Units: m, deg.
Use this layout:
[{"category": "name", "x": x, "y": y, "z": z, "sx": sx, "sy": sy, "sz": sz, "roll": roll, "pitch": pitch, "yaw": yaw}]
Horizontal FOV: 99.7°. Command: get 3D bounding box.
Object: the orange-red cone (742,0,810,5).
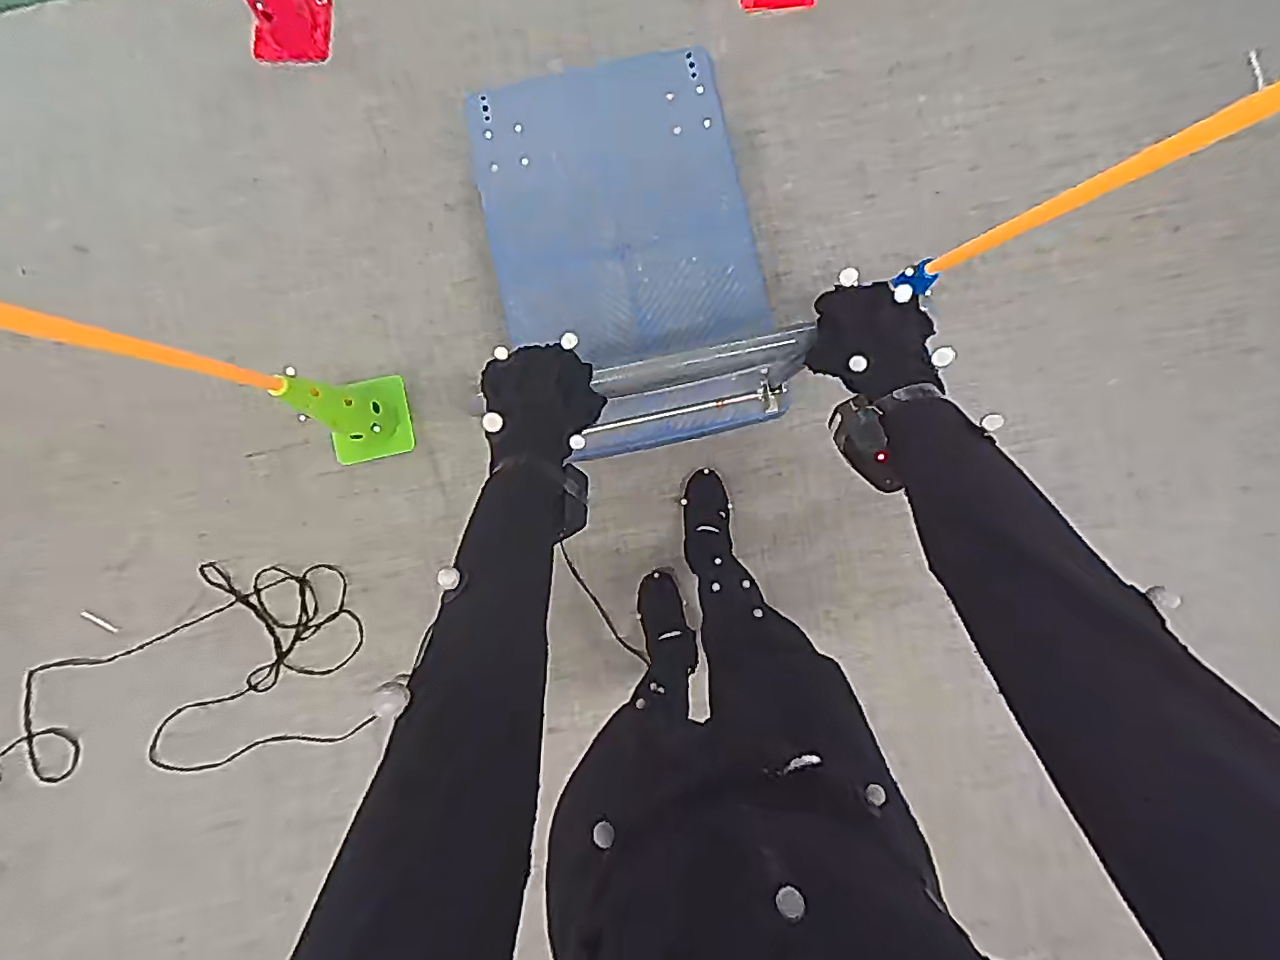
[{"category": "orange-red cone", "x": 0.357, "y": -1.355, "z": 1.254, "sx": 0.198, "sy": 0.360, "sz": 0.199, "roll": -1, "pitch": 87, "yaw": 1}]
